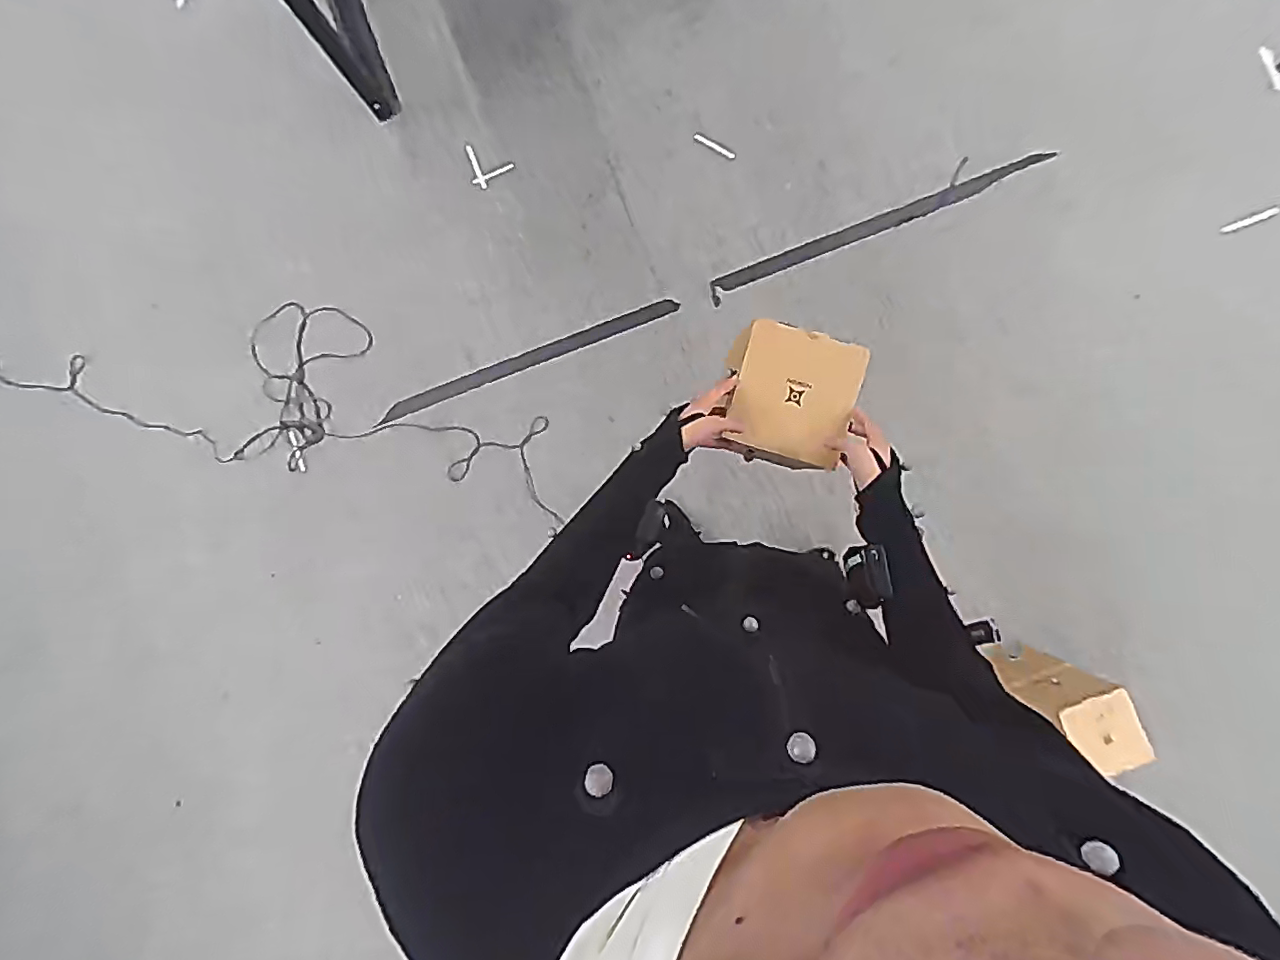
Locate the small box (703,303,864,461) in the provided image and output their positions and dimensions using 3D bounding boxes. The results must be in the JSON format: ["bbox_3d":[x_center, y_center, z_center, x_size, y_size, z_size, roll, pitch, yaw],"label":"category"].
[{"bbox_3d":[0.196,-0.130,0.797,0.168,0.176,0.179,15,89,-2],"label":"small box"}]

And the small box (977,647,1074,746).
[{"bbox_3d":[1.068,0.582,1.473,0.168,0.176,0.179,-21,87,1],"label":"small box"}]

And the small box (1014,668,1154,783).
[{"bbox_3d":[1.062,0.584,1.309,0.168,0.176,0.179,-21,86,1],"label":"small box"}]
